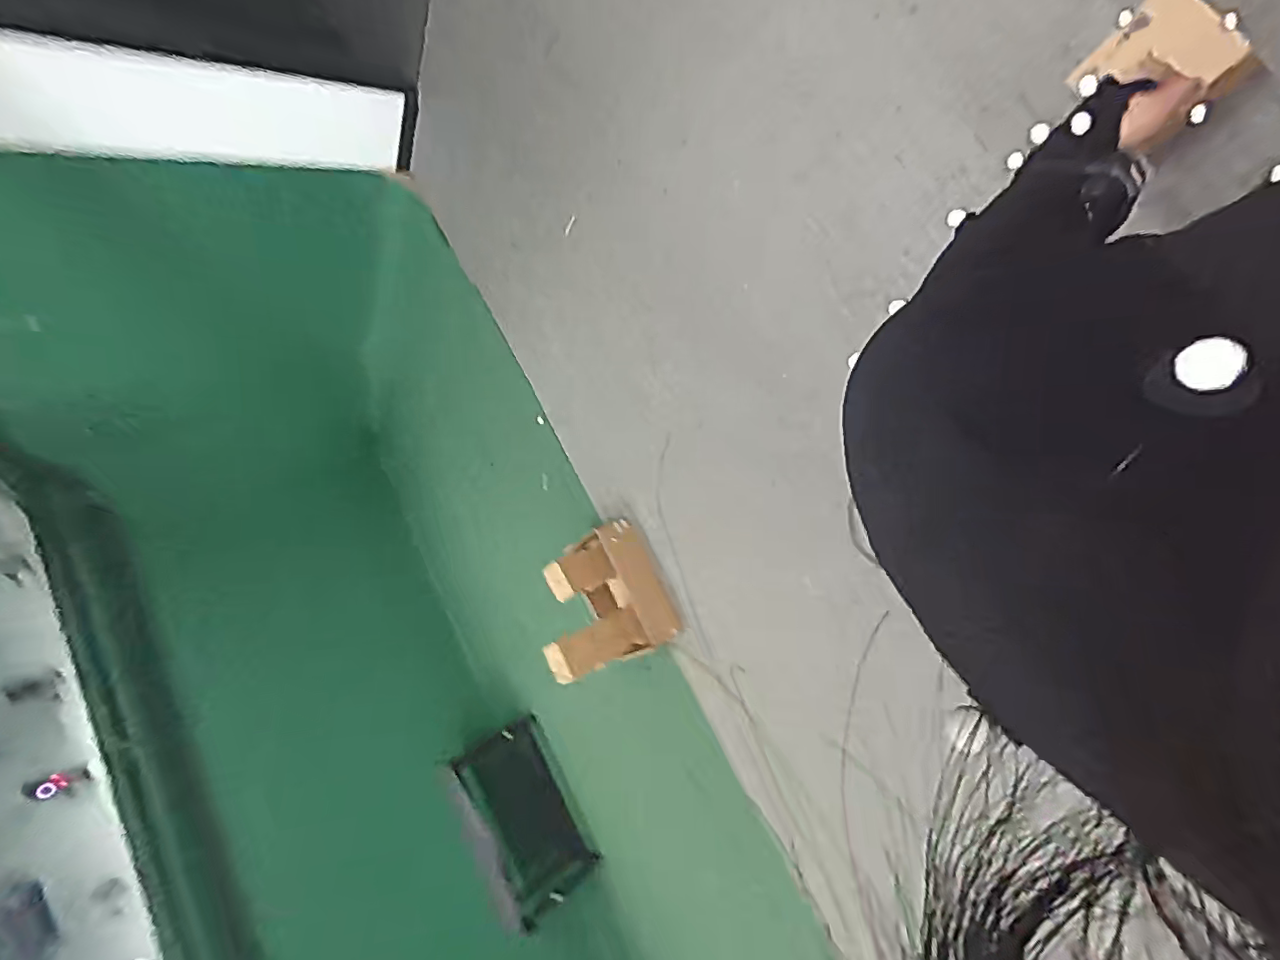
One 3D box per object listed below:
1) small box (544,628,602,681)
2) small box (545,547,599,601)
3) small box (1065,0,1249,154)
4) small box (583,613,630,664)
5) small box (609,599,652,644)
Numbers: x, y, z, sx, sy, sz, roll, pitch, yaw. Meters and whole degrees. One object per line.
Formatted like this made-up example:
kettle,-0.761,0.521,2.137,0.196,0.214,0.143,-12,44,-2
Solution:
small box,-0.302,0.783,2.444,0.168,0.176,0.179,-39,74,50
small box,-0.323,0.449,2.590,0.168,0.176,0.179,-40,75,48
small box,0.906,-0.703,0.947,0.179,0.176,0.168,60,141,12
small box,-0.175,0.750,2.546,0.168,0.176,0.179,-38,74,50
small box,-0.061,0.706,2.656,0.179,0.176,0.168,-40,74,49
